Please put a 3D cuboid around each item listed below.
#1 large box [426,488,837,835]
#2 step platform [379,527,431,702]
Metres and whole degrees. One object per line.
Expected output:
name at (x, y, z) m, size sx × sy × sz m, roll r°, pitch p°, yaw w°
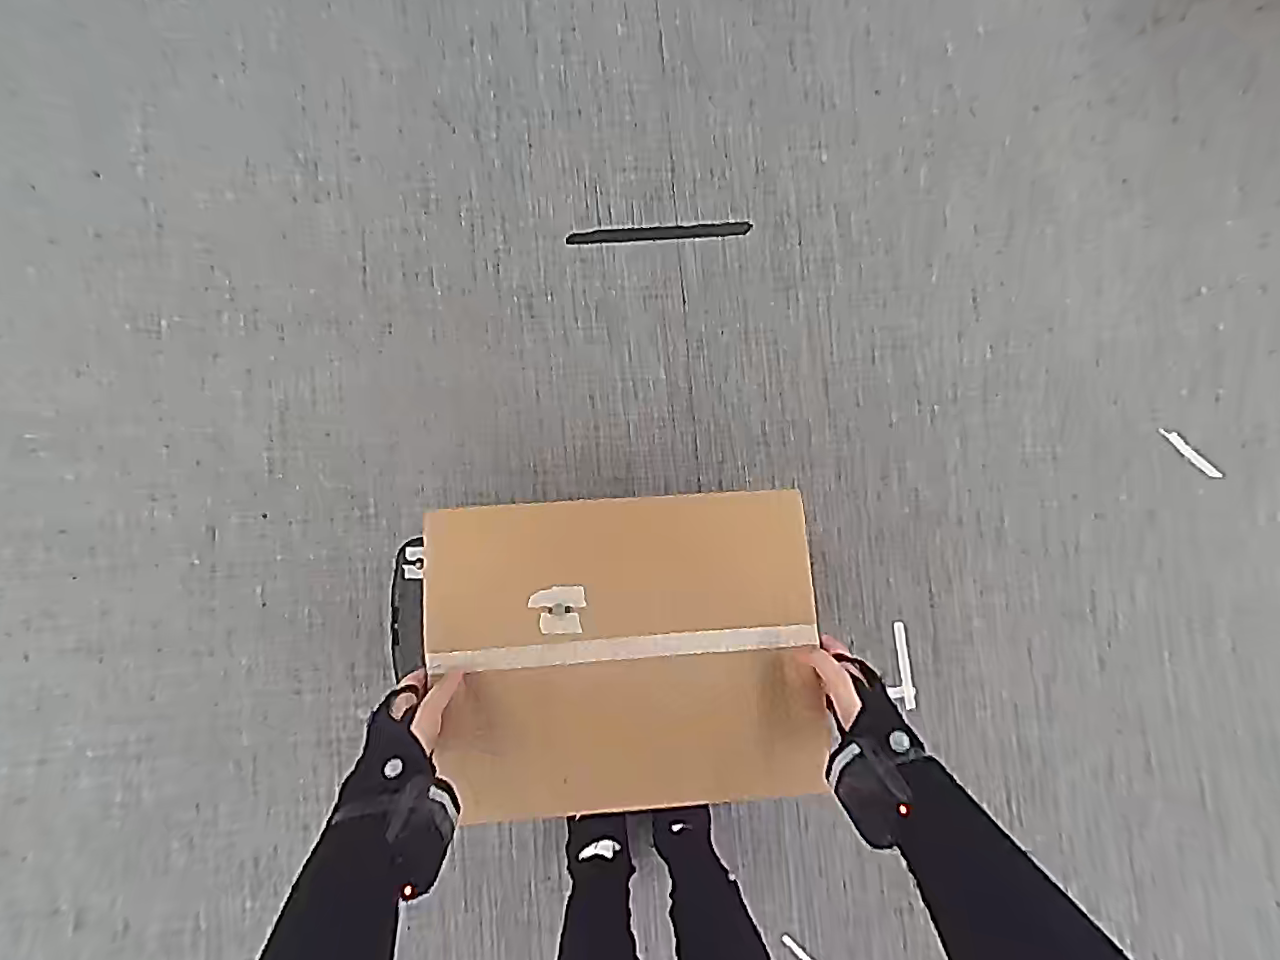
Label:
large box at (-0.015, 0.196, 0.696) m, size 0.408 × 0.320 × 0.320 m, roll -4°, pitch 81°, yaw -2°
step platform at (-0.090, 0.237, 0.965) m, size 0.684 × 0.204 × 0.286 m, roll 2°, pitch 85°, yaw -2°
